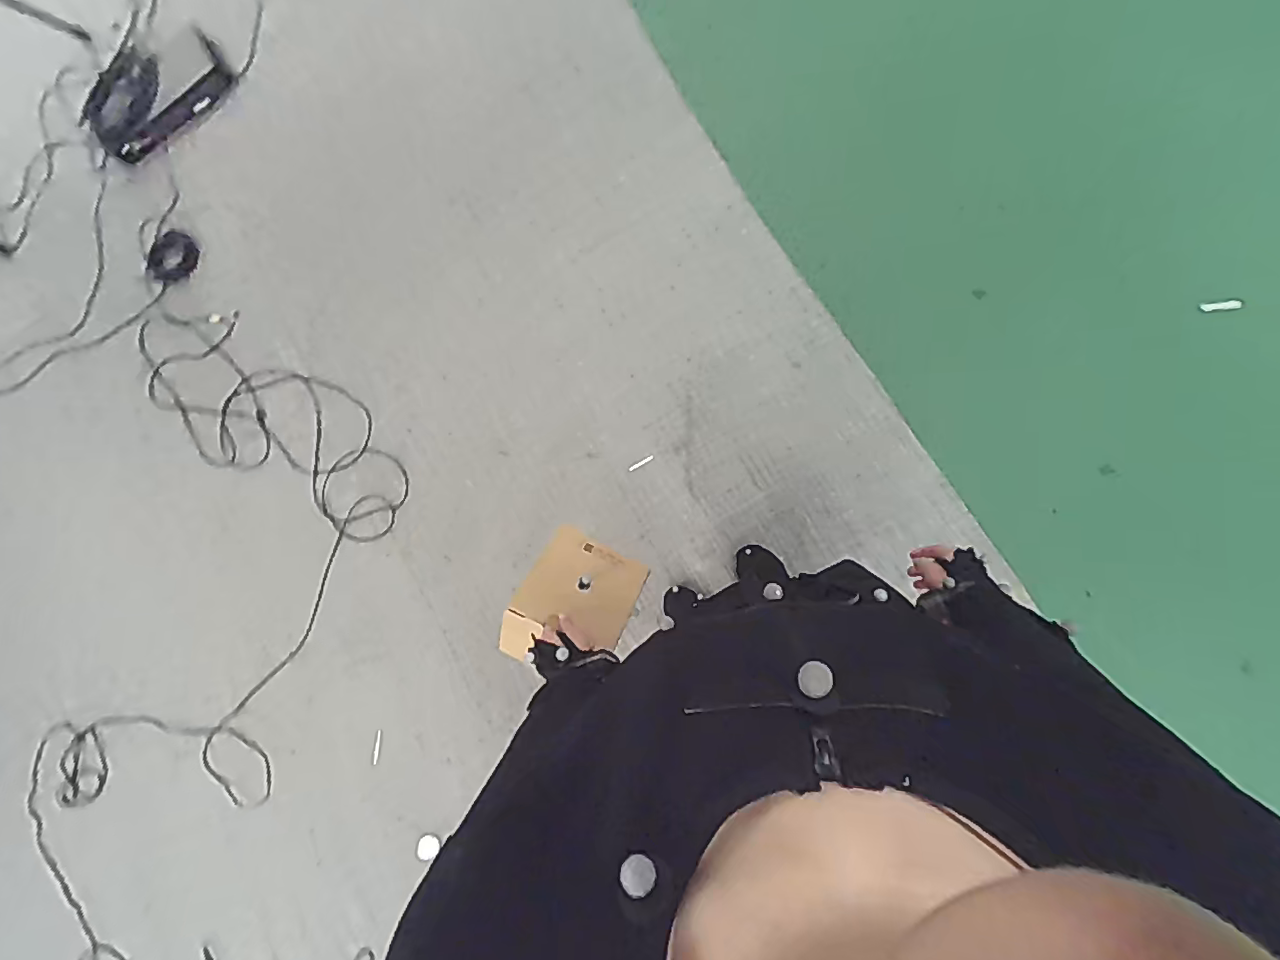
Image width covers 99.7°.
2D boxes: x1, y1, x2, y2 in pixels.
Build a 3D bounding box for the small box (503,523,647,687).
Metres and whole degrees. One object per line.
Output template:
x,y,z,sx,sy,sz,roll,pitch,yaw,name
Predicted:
-0.102,0.199,0.876,0.168,0.179,0.176,26,49,2,small box
